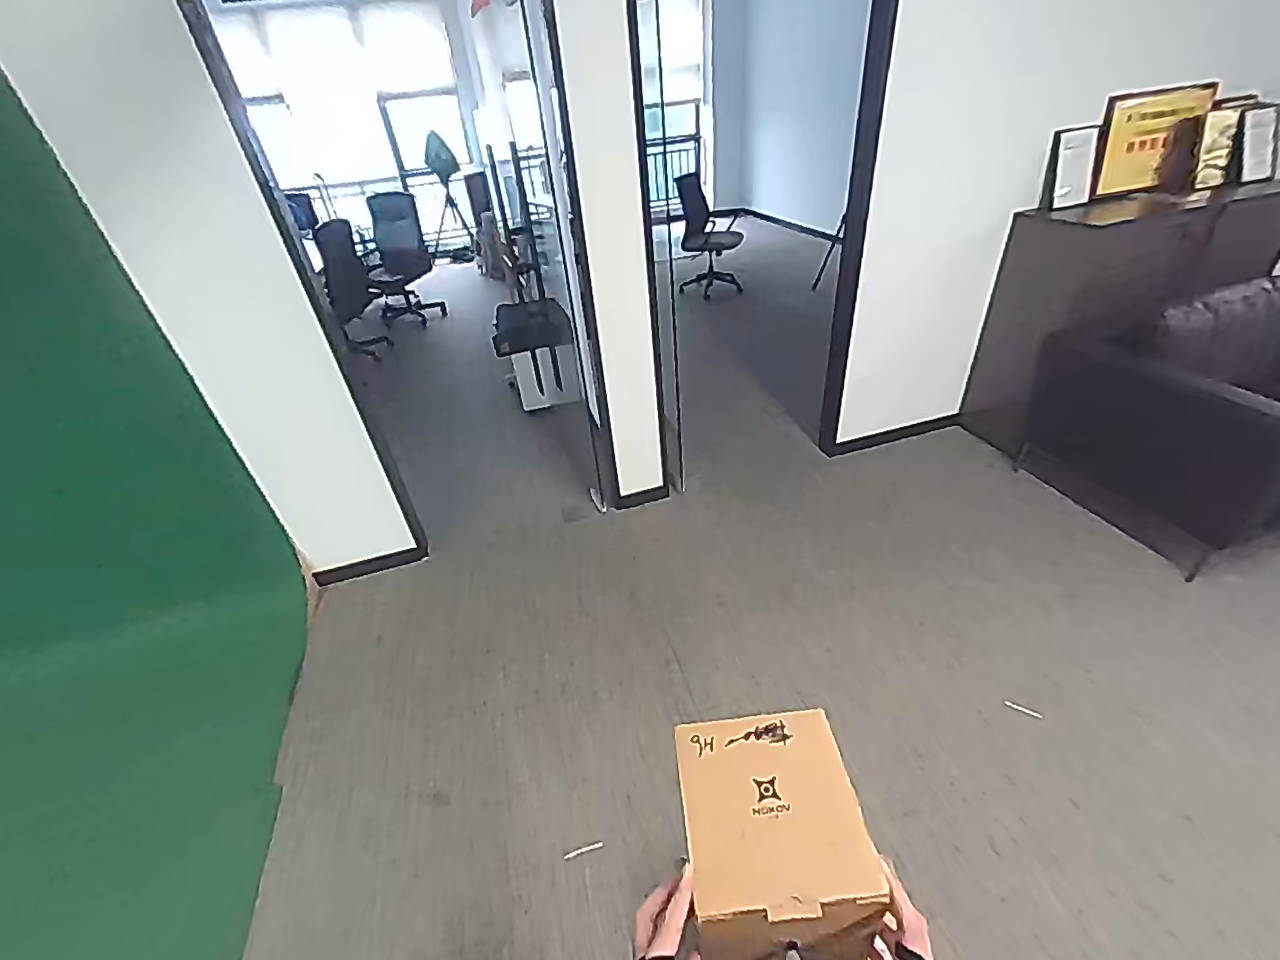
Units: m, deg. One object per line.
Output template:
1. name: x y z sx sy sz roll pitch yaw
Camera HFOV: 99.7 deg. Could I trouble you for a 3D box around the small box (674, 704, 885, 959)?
1. small box: 0.130 0.366 0.560 0.168 0.176 0.179 -7 35 1
